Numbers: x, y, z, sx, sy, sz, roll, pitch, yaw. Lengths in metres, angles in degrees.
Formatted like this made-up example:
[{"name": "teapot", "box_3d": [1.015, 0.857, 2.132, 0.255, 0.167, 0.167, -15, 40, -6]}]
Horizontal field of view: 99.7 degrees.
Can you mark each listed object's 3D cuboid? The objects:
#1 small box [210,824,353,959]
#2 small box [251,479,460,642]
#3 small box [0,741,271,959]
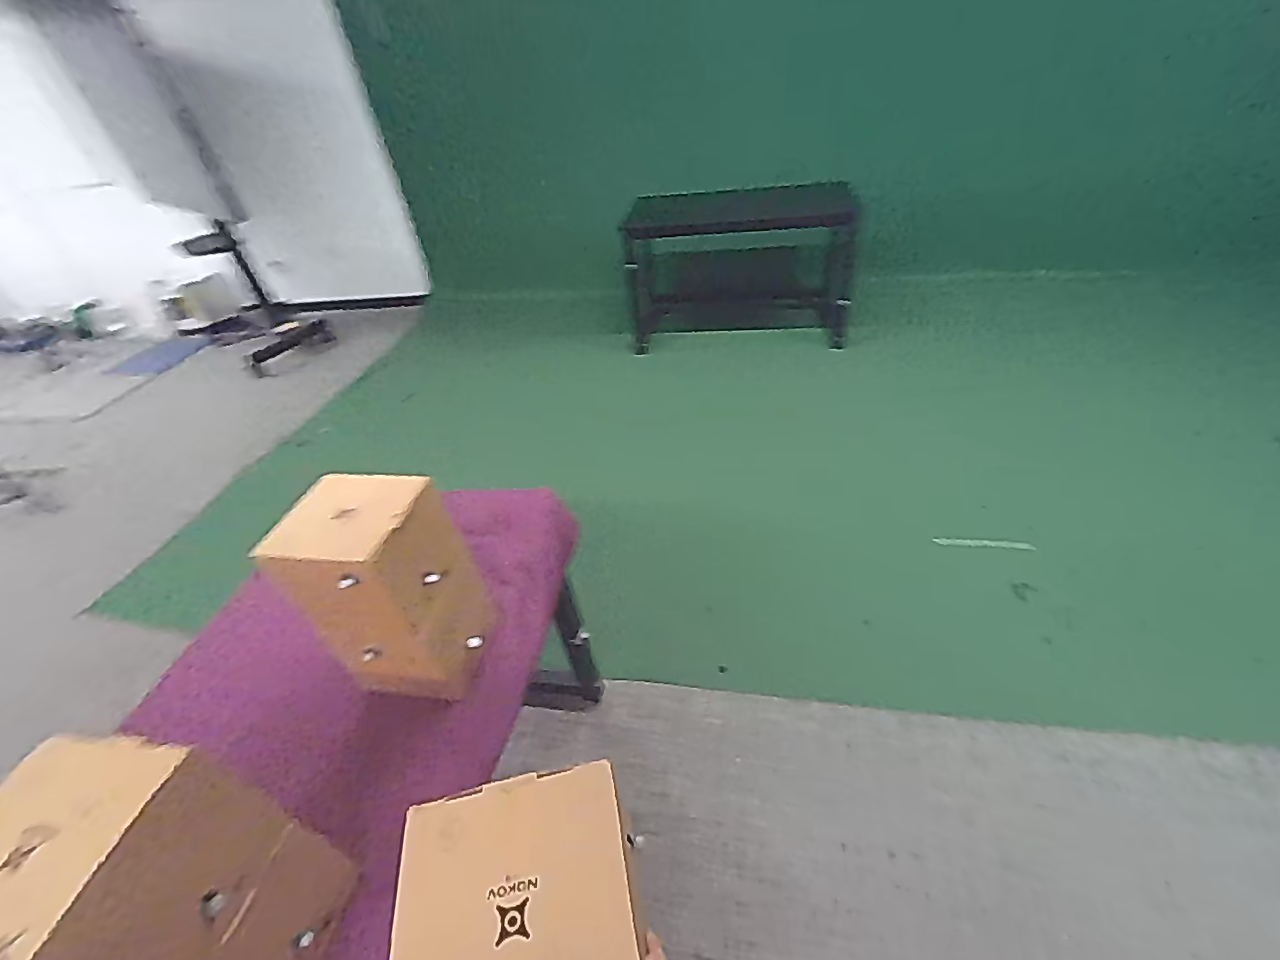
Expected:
[{"name": "small box", "box_3d": [-0.464, 0.491, 0.591, 0.179, 0.176, 0.168, -1, 40, 11]}, {"name": "small box", "box_3d": [-0.393, 0.116, 0.783, 0.179, 0.176, 0.168, 1, 40, 11]}, {"name": "small box", "box_3d": [-0.482, 0.365, 0.488, 0.168, 0.176, 0.179, -3, 39, 11]}]
